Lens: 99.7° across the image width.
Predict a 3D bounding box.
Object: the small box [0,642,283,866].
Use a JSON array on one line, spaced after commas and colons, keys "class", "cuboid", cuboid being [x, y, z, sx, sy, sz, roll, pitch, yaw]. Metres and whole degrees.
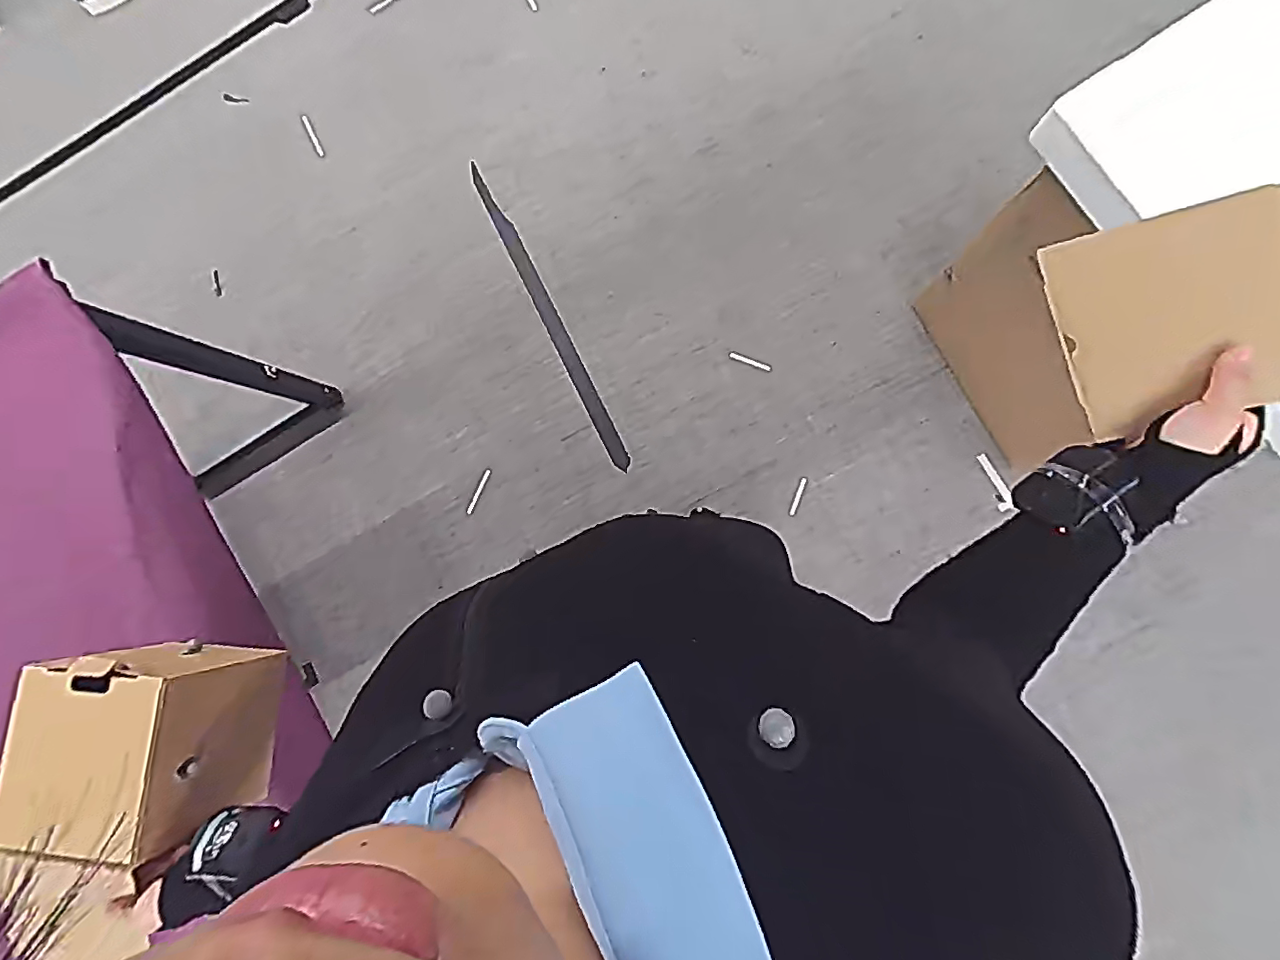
[{"class": "small box", "cuboid": [-0.544, 0.289, 0.610, 0.168, 0.176, 0.179, 2, 80, 6]}]
